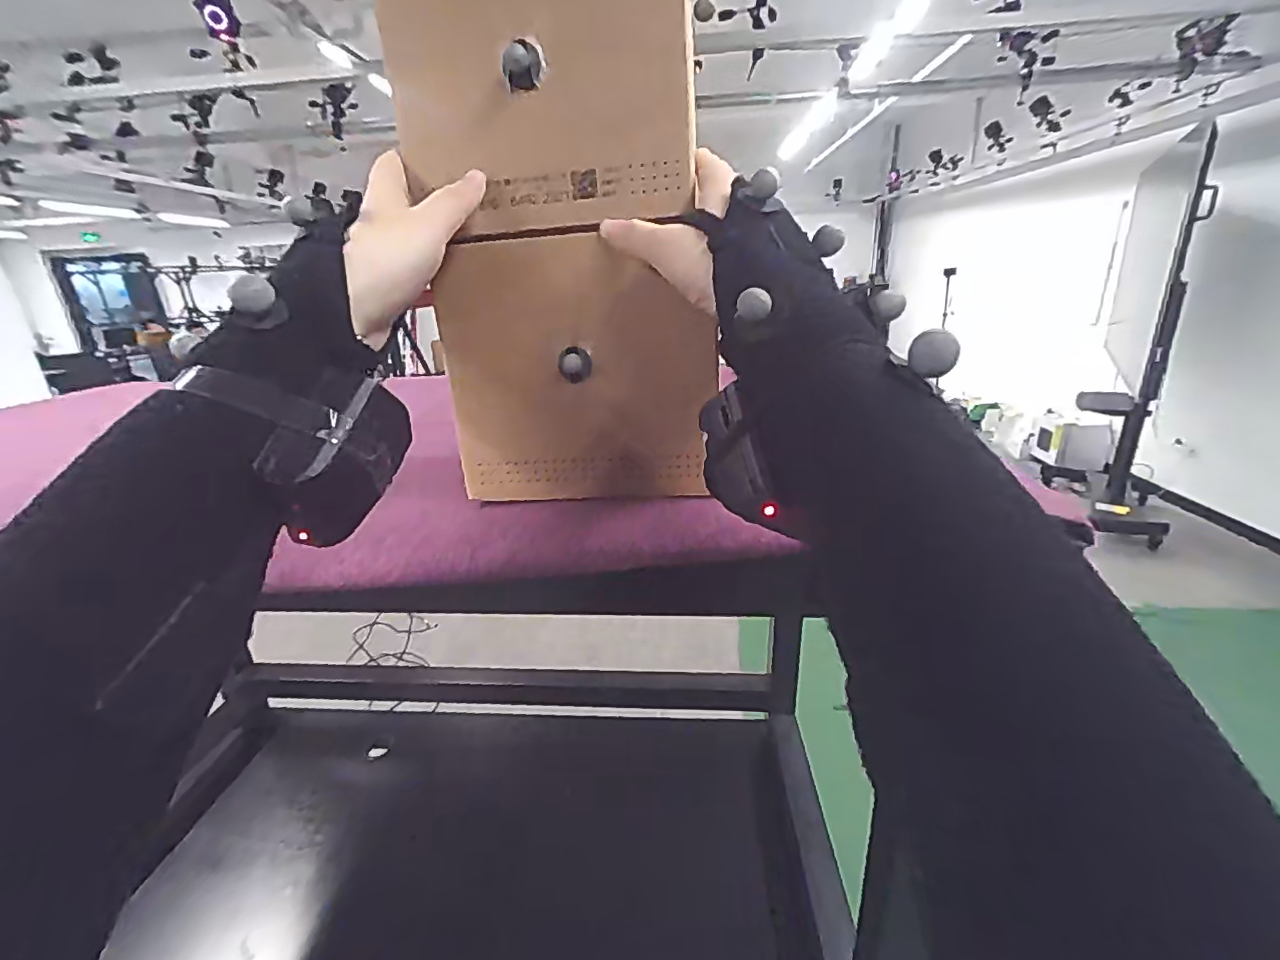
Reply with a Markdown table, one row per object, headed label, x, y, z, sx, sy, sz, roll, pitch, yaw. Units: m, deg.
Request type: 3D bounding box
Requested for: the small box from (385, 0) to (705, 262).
| label | x | y | z | sx | sy | sz | roll | pitch | yaw |
| --- | --- | --- | --- | --- | --- | --- | --- | --- | --- |
| small box | -0.042 | -0.245 | 0.359 | 0.168 | 0.176 | 0.179 | -1 | 19 | 7 |
